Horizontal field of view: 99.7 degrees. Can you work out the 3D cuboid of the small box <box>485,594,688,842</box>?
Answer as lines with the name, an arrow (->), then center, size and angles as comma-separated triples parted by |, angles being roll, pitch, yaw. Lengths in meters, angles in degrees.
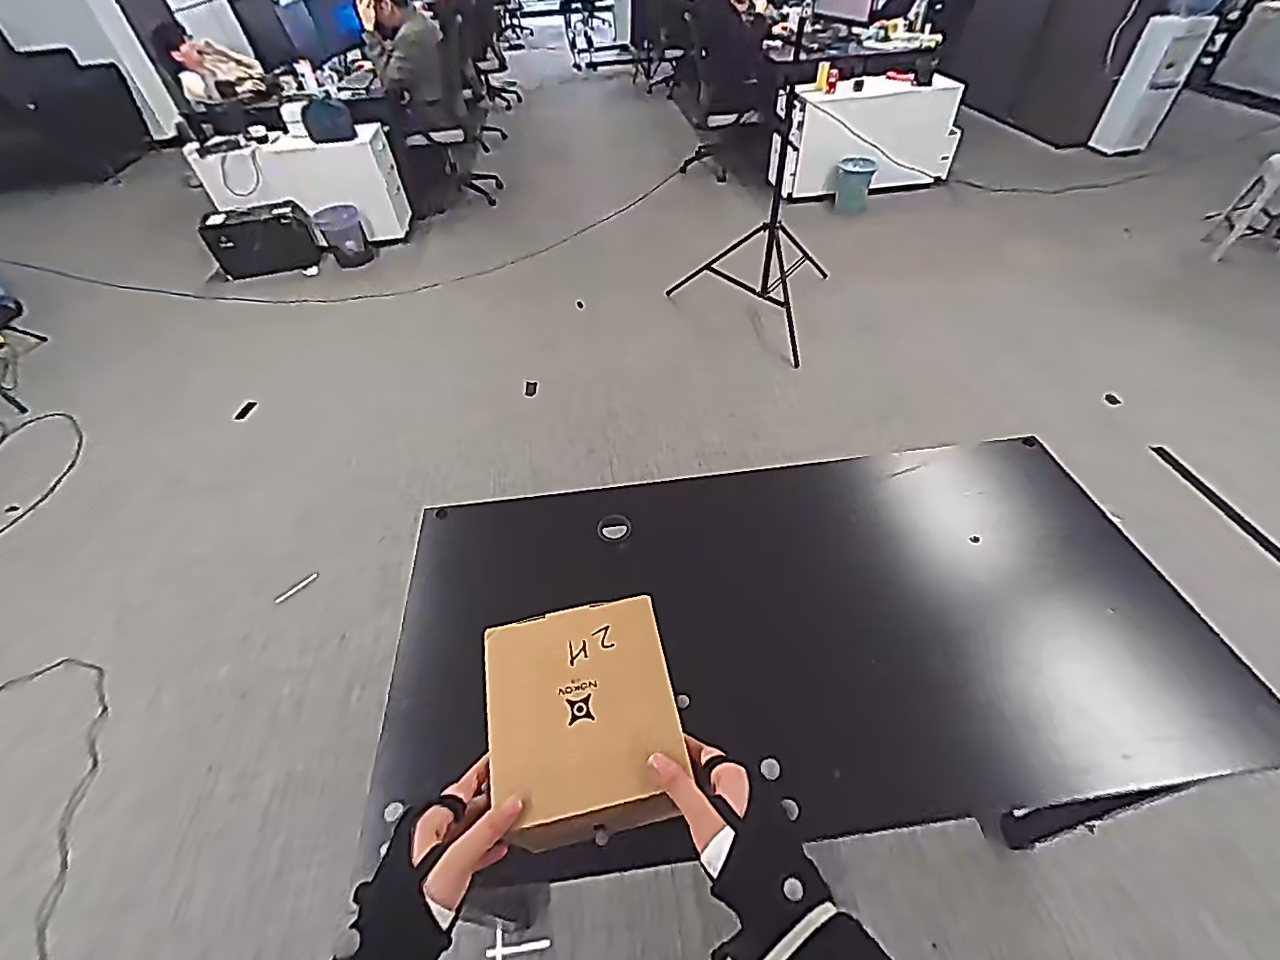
small box -> -0.050, 0.244, 0.544 | 0.168, 0.176, 0.179 | -12, 51, -5
